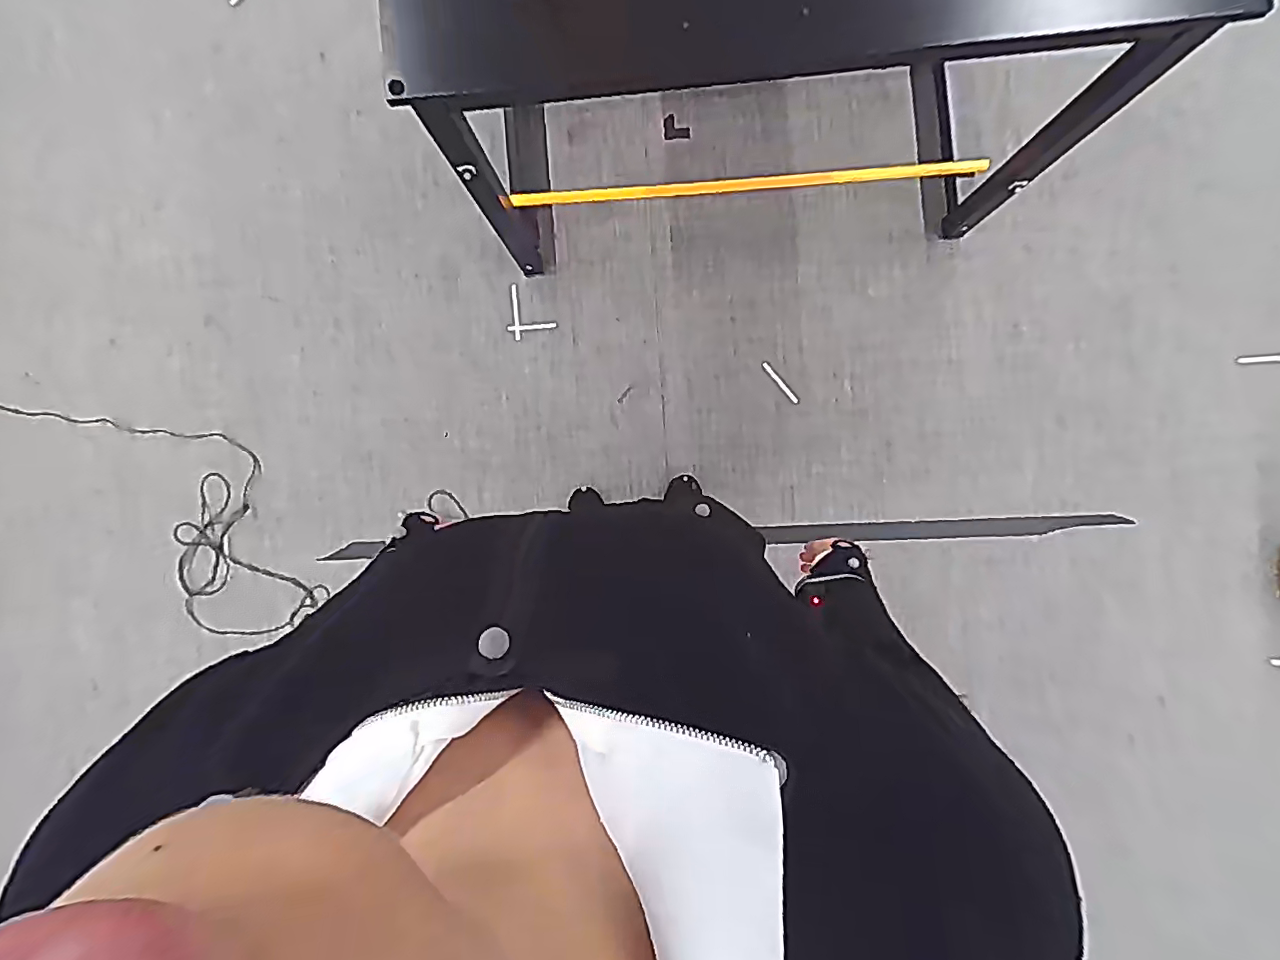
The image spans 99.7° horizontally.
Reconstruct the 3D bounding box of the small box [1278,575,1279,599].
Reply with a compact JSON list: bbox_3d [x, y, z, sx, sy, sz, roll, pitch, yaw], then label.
[{"bbox_3d":[1.767,0.244,1.347,0.179,0.176,0.168,-2,91,3],"label":"small box"}]
